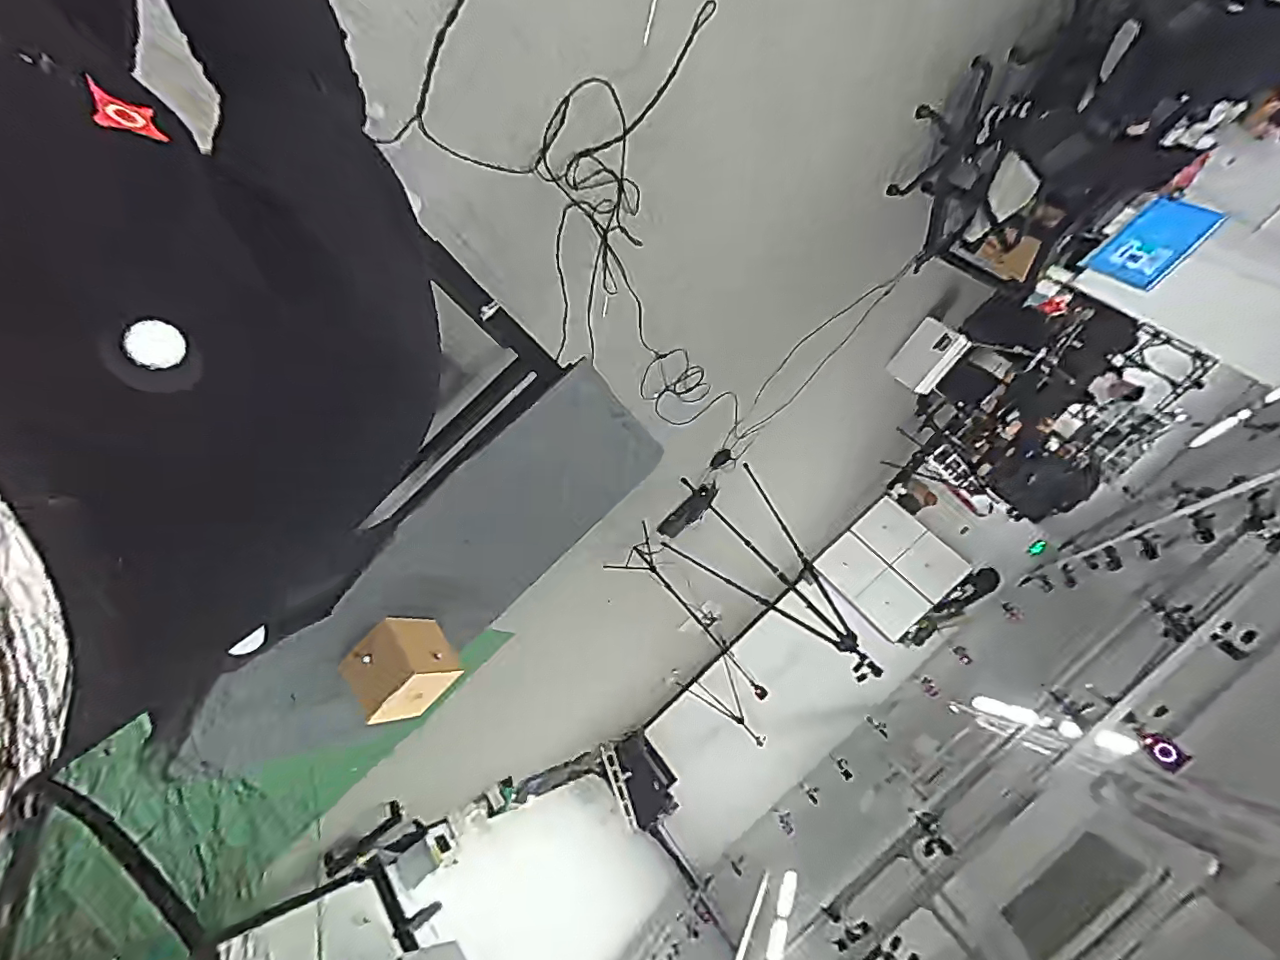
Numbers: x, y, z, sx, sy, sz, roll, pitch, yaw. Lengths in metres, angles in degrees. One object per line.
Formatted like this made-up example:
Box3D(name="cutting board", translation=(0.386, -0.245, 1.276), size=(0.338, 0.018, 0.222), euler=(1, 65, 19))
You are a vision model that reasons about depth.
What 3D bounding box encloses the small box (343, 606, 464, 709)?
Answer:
Box3D(name="small box", translation=(-0.573, 0.425, 1.315), size=(0.168, 0.176, 0.179), euler=(-45, 155, 3))
